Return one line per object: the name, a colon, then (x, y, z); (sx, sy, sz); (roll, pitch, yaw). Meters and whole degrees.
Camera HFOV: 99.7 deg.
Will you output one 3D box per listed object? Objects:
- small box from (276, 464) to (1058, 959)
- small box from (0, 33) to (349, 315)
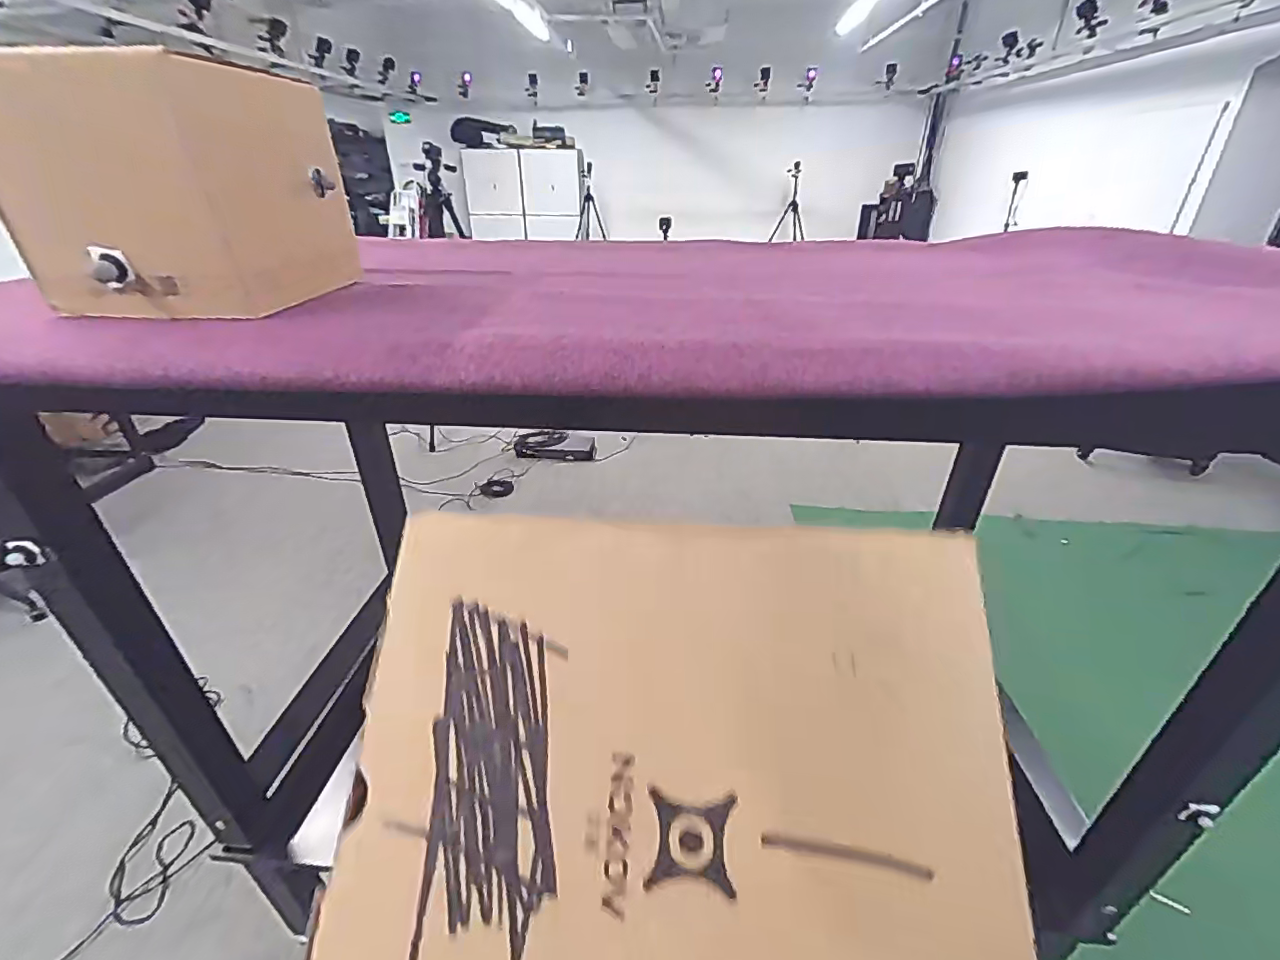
small box: (0.012, 0.102, 0.206); (0.179, 0.176, 0.168); (2, 70, 7)
small box: (-0.368, -0.240, 0.441); (0.168, 0.176, 0.179); (-1, 31, 2)
